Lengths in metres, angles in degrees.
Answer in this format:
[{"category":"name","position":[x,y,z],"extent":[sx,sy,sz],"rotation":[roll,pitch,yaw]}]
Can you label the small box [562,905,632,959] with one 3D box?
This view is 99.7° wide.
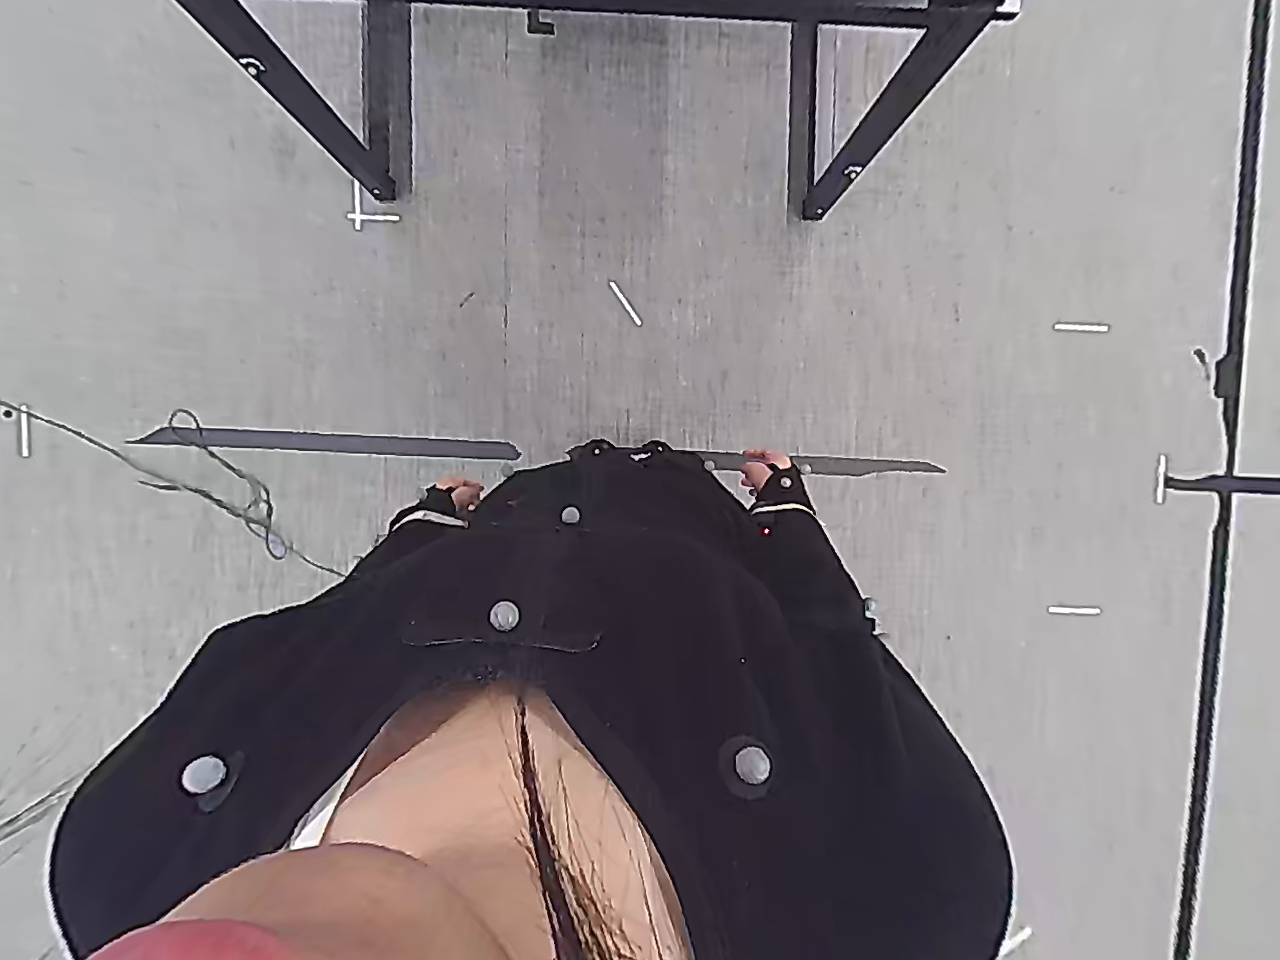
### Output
[{"category":"small box","position":[-0.114,1.307,1.472],"extent":[0.168,0.176,0.179],"rotation":[-12,93,-2]}]
